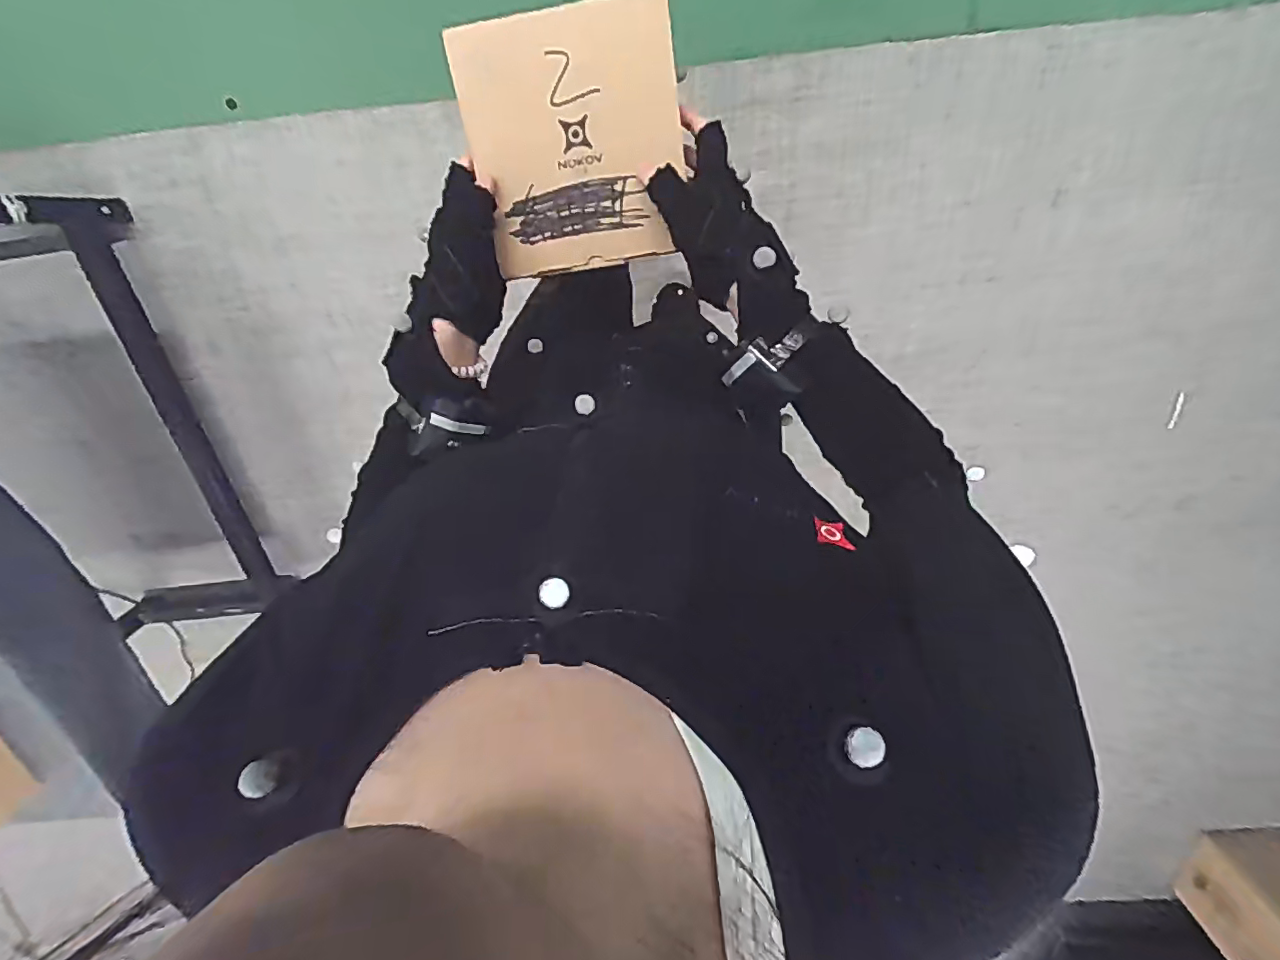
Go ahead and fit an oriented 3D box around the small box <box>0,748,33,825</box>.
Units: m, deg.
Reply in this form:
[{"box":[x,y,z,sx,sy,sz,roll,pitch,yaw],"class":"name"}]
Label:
[{"box":[-1.302,0.590,0.984,0.168,0.176,0.179,-3,116,2],"class":"small box"}]
